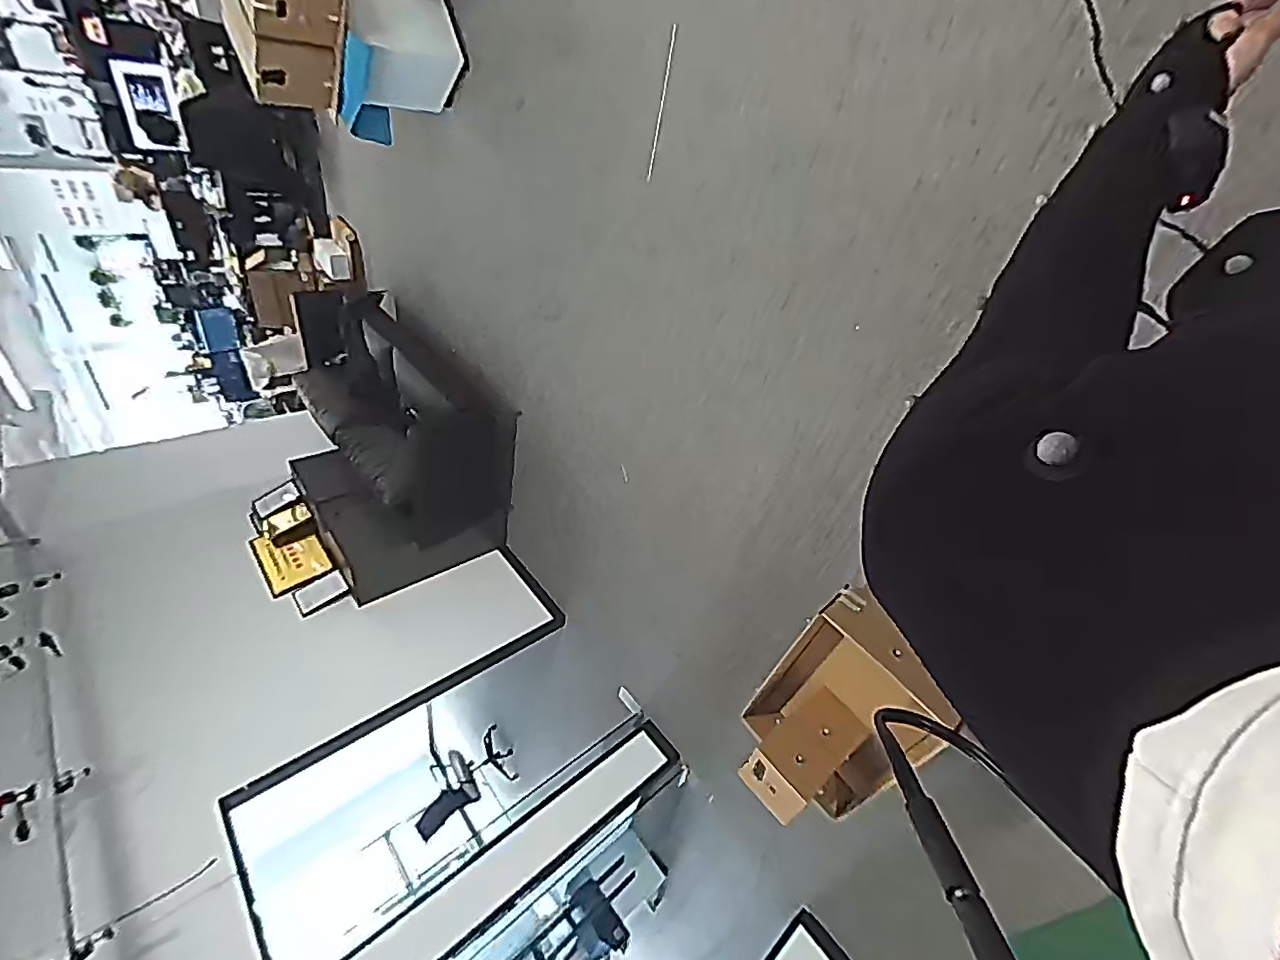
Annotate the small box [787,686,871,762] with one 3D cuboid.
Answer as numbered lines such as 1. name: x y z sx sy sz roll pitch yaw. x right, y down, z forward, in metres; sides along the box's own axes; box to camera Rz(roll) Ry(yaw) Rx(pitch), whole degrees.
1. small box: 0.543 0.745 1.608 0.179 0.176 0.168 43 136 29

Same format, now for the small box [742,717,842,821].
1. small box: 0.423 0.793 1.506 0.179 0.176 0.168 41 135 29
